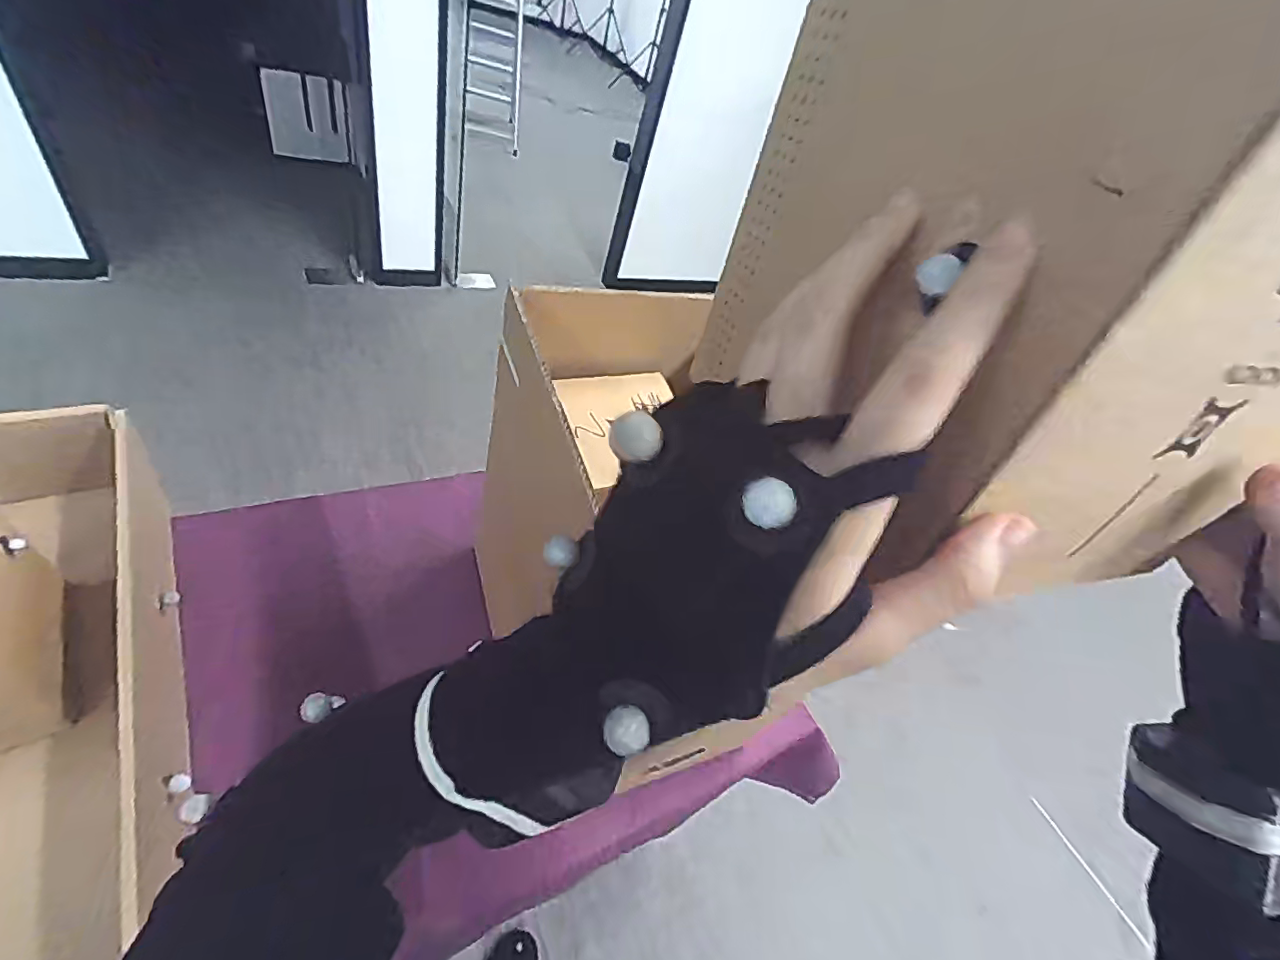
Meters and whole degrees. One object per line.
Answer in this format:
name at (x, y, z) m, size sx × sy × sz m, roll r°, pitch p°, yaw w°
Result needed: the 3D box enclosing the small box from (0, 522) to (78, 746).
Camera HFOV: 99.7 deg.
small box at (-0.644, 0.149, 0.476) m, size 0.168 × 0.176 × 0.179 m, roll -17°, pitch 57°, yaw -31°
